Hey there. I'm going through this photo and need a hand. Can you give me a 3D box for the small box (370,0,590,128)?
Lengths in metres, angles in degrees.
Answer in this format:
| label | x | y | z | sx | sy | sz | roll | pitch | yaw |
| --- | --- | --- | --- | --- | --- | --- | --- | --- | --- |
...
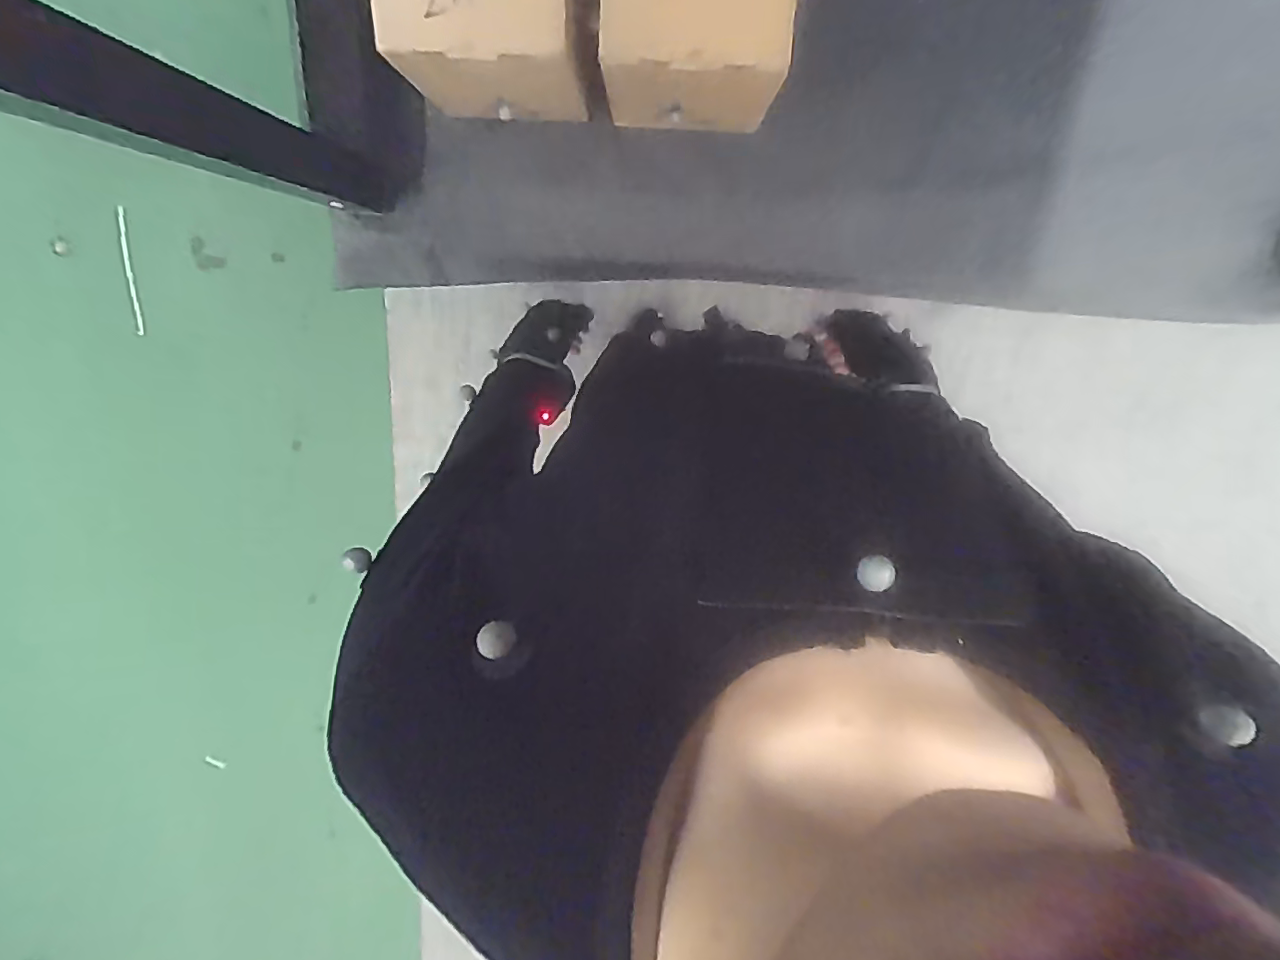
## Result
| label | x | y | z | sx | sy | sz | roll | pitch | yaw |
| --- | --- | --- | --- | --- | --- | --- | --- | --- | --- |
| small box | -0.140 | -0.467 | 0.517 | 0.168 | 0.176 | 0.179 | 3 | 107 | 2 |
